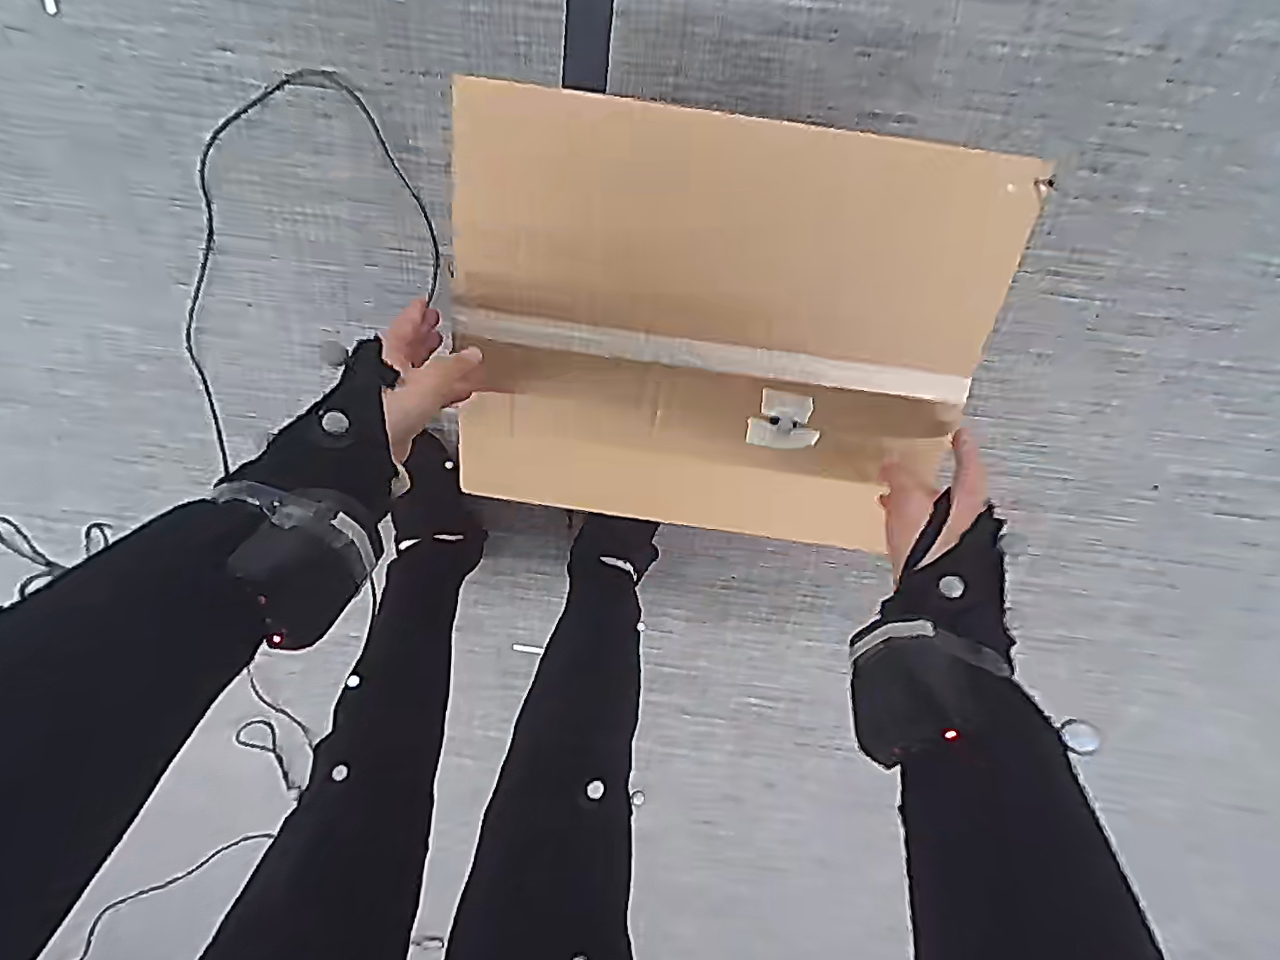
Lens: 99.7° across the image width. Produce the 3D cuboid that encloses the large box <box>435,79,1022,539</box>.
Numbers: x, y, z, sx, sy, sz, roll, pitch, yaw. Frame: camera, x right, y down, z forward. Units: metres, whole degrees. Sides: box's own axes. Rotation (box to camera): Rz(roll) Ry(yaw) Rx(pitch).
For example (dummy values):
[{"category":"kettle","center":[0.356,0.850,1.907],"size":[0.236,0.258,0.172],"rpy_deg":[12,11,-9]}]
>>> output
[{"category":"large box","center":[0.049,-0.166,0.555],"size":[0.408,0.320,0.320],"rpy_deg":[7,115,-1]}]
